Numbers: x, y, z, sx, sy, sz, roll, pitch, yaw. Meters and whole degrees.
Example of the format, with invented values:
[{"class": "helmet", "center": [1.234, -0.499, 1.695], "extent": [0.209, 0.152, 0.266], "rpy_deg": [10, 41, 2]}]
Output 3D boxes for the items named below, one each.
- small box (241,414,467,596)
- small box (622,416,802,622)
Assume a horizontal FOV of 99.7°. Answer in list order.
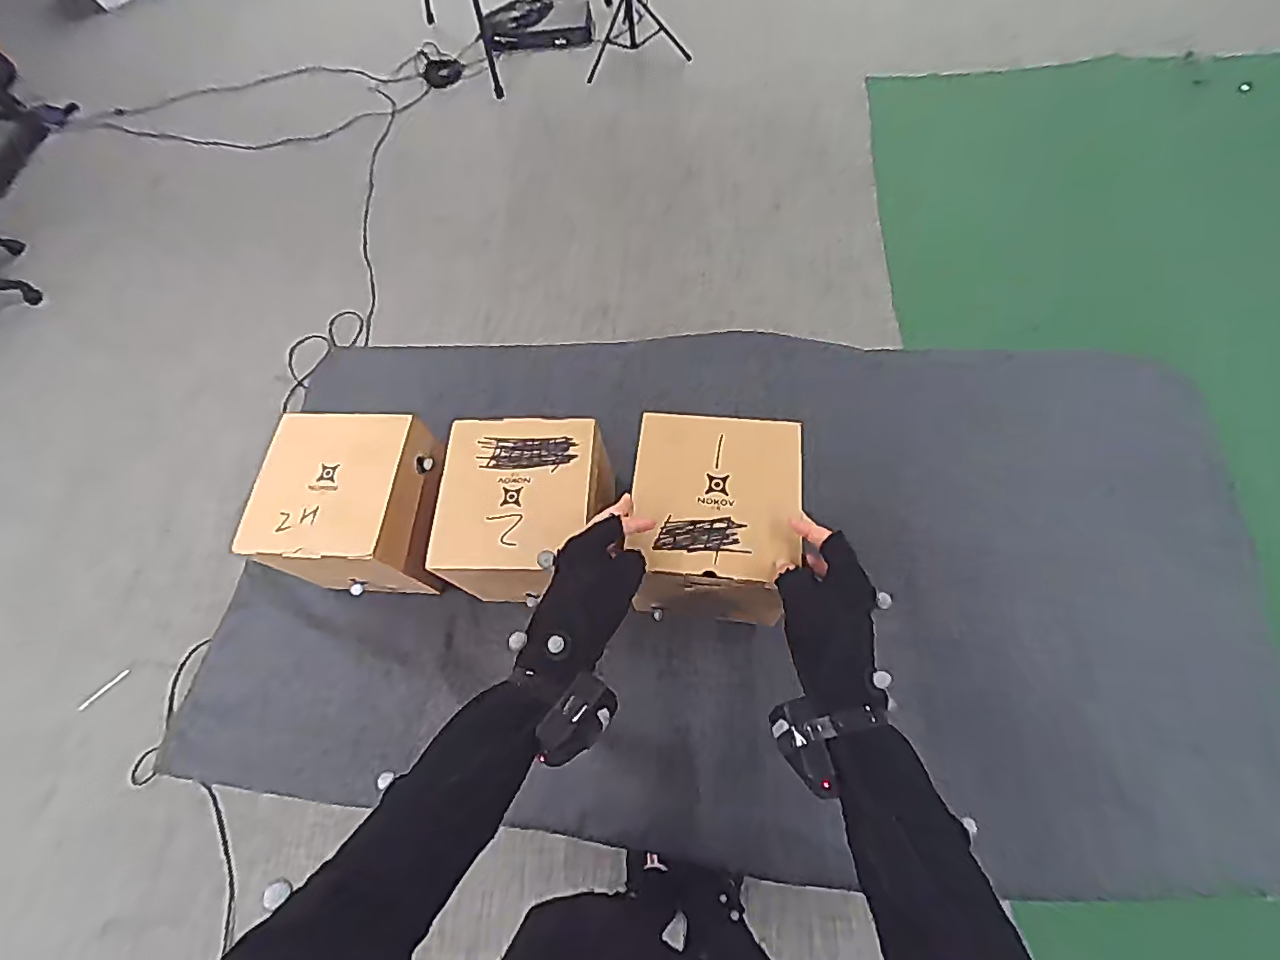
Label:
[{"class": "small box", "center": [-0.335, 0.035, 0.678], "extent": [0.168, 0.176, 0.179], "rpy_deg": [2, 66, 7]}, {"class": "small box", "center": [0.082, 0.050, 0.602], "extent": [0.168, 0.176, 0.179], "rpy_deg": [5, 63, 8]}]
